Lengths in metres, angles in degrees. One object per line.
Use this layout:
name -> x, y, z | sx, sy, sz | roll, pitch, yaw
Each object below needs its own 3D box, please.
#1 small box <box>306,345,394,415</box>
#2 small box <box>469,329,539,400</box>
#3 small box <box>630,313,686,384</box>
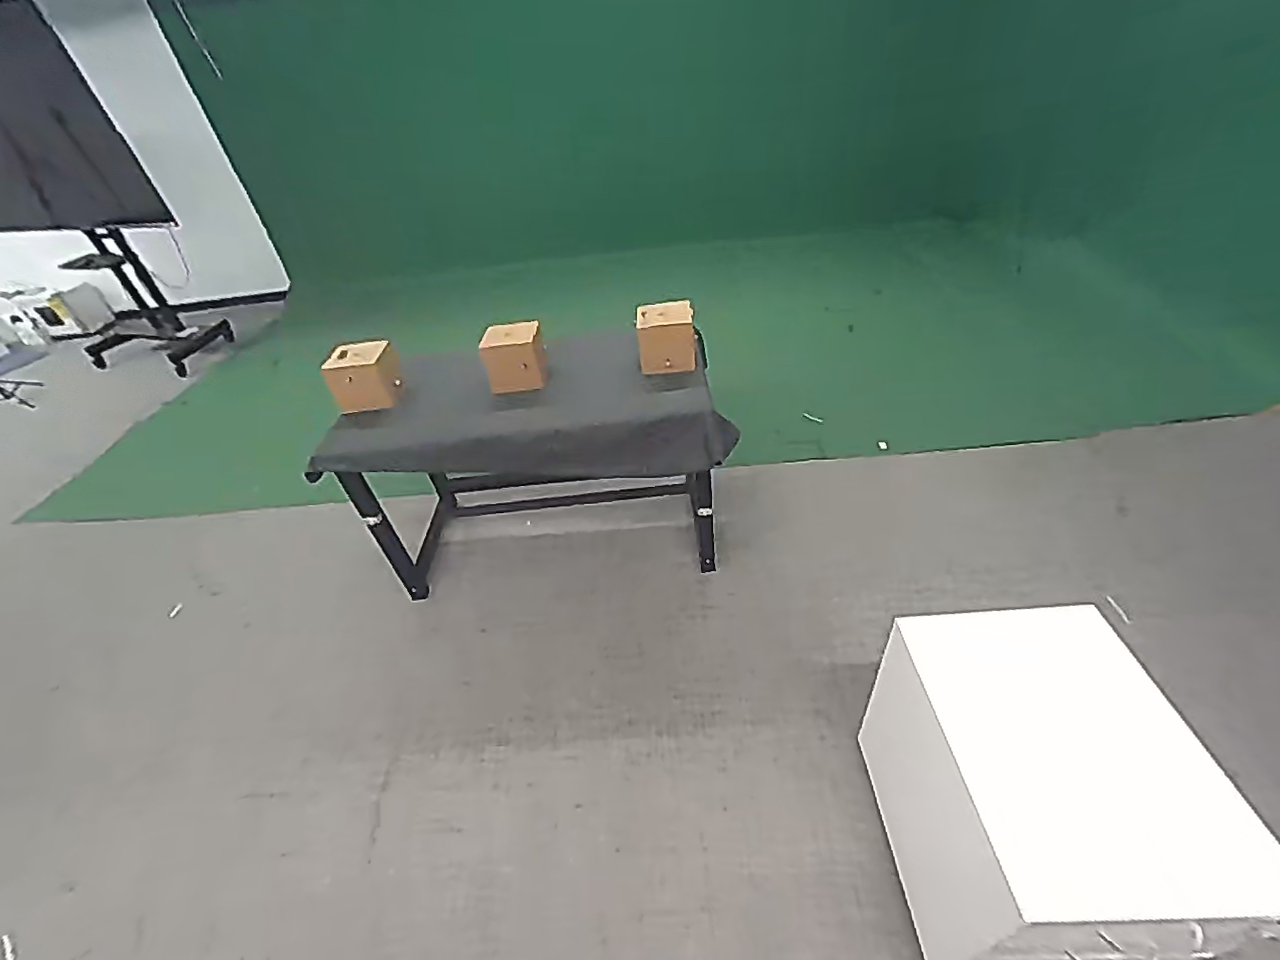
small box -> -0.936, -0.324, 1.762 | 0.179, 0.176, 0.168 | -5, 38, -2
small box -> -0.436, -0.378, 1.773 | 0.179, 0.176, 0.168 | -6, 37, 2
small box -> 0.061, -0.428, 1.768 | 0.179, 0.176, 0.168 | -3, 38, 3
